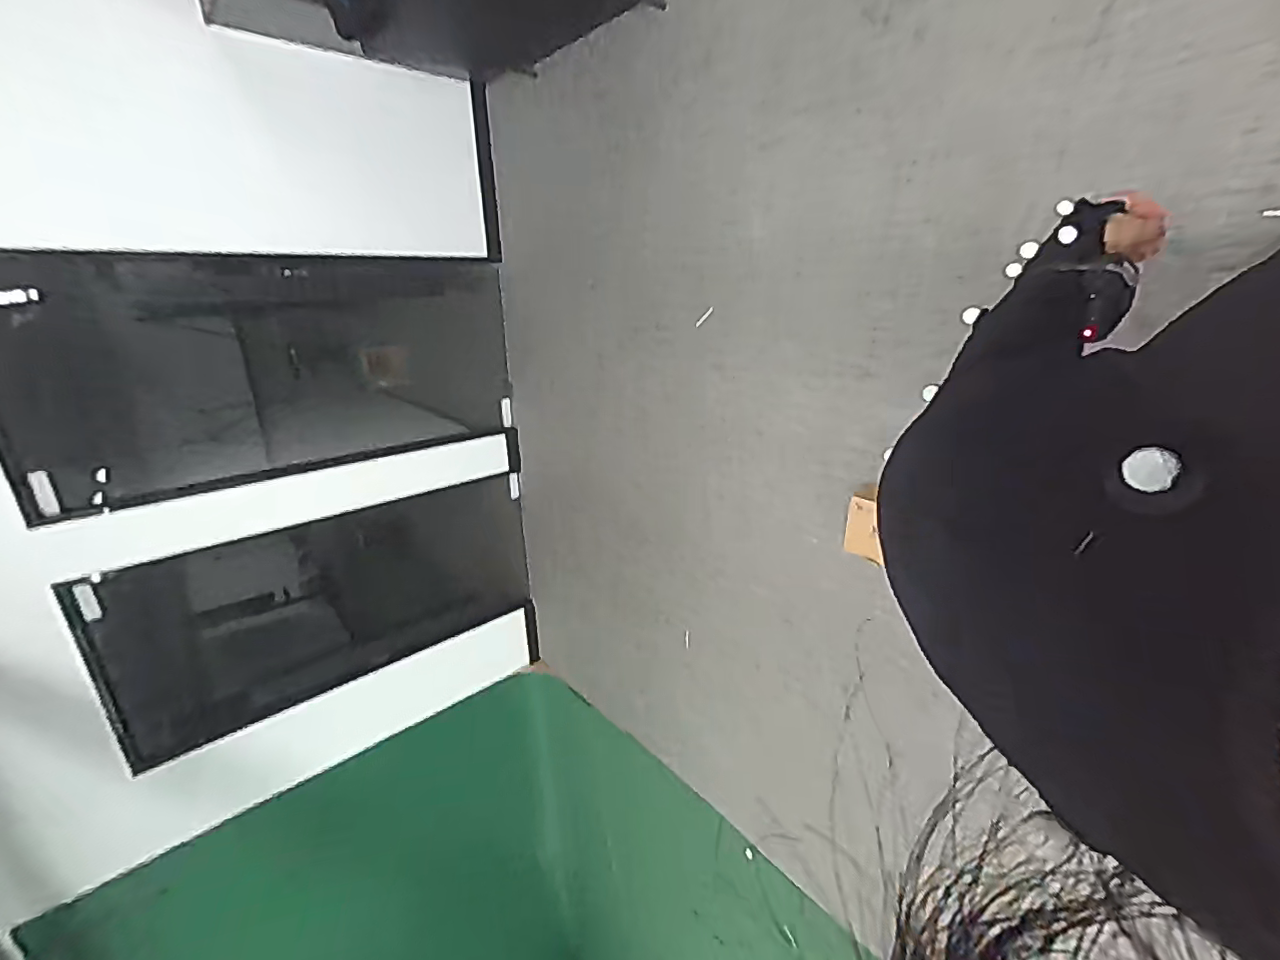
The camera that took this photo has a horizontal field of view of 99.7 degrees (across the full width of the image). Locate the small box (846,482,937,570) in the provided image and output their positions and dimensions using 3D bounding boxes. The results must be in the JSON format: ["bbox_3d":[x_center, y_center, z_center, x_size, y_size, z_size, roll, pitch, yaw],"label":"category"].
[{"bbox_3d":[0.706,0.122,1.517,0.168,0.176,0.179,22,120,45],"label":"small box"}]
